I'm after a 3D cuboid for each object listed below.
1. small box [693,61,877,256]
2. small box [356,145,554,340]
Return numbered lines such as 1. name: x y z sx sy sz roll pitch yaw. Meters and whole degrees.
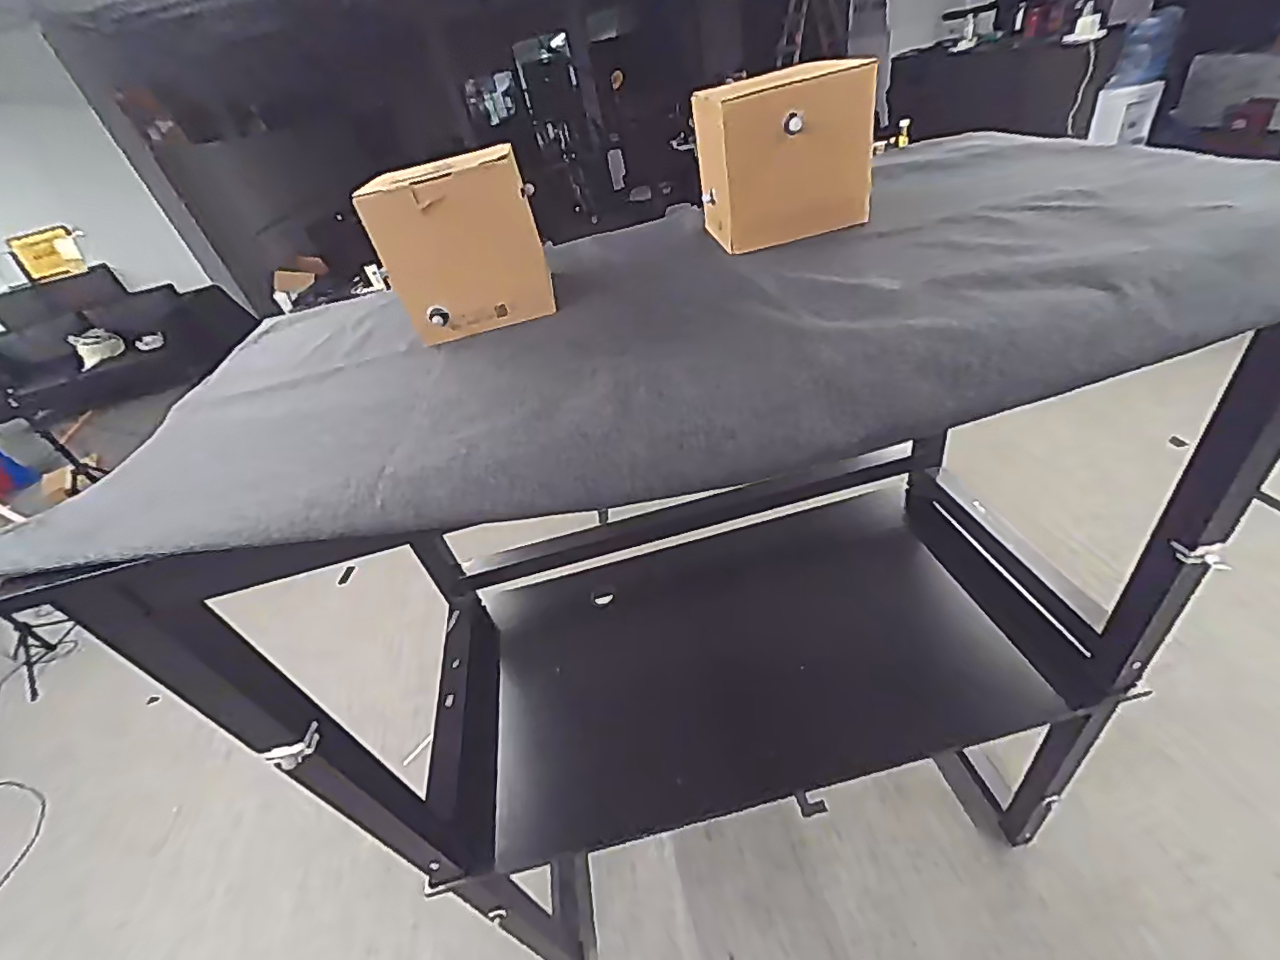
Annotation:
1. small box: 0.177 -0.409 0.689 0.179 0.176 0.168 -14 37 2
2. small box: -0.208 -0.287 0.662 0.168 0.176 0.179 -15 36 -1
